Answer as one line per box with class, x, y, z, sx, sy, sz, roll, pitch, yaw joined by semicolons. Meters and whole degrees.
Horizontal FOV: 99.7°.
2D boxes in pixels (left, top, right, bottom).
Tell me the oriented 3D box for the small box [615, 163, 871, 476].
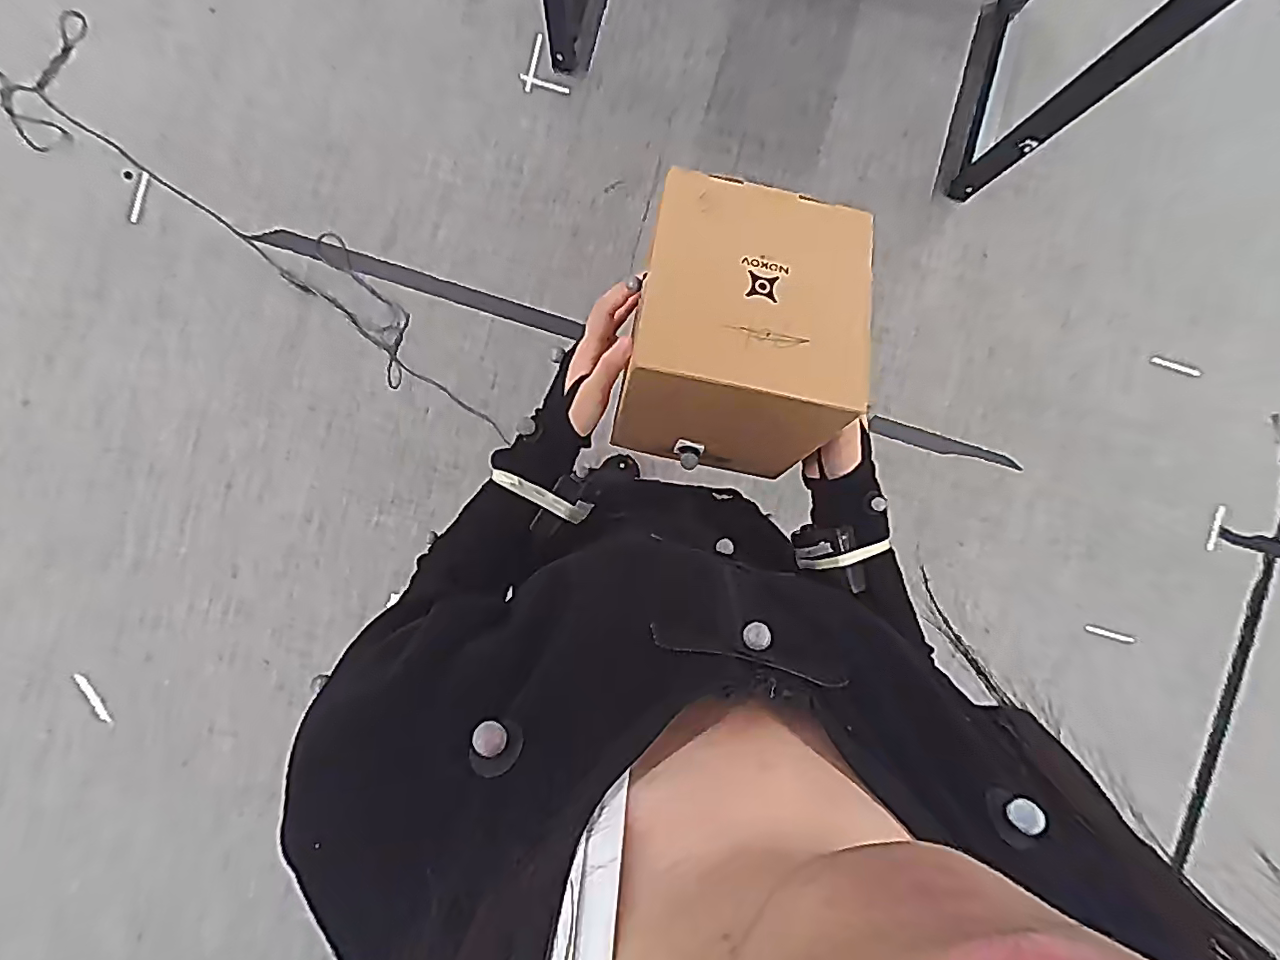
small box;0.076;-0.120;0.463;0.168;0.176;0.179;10;73;-5
